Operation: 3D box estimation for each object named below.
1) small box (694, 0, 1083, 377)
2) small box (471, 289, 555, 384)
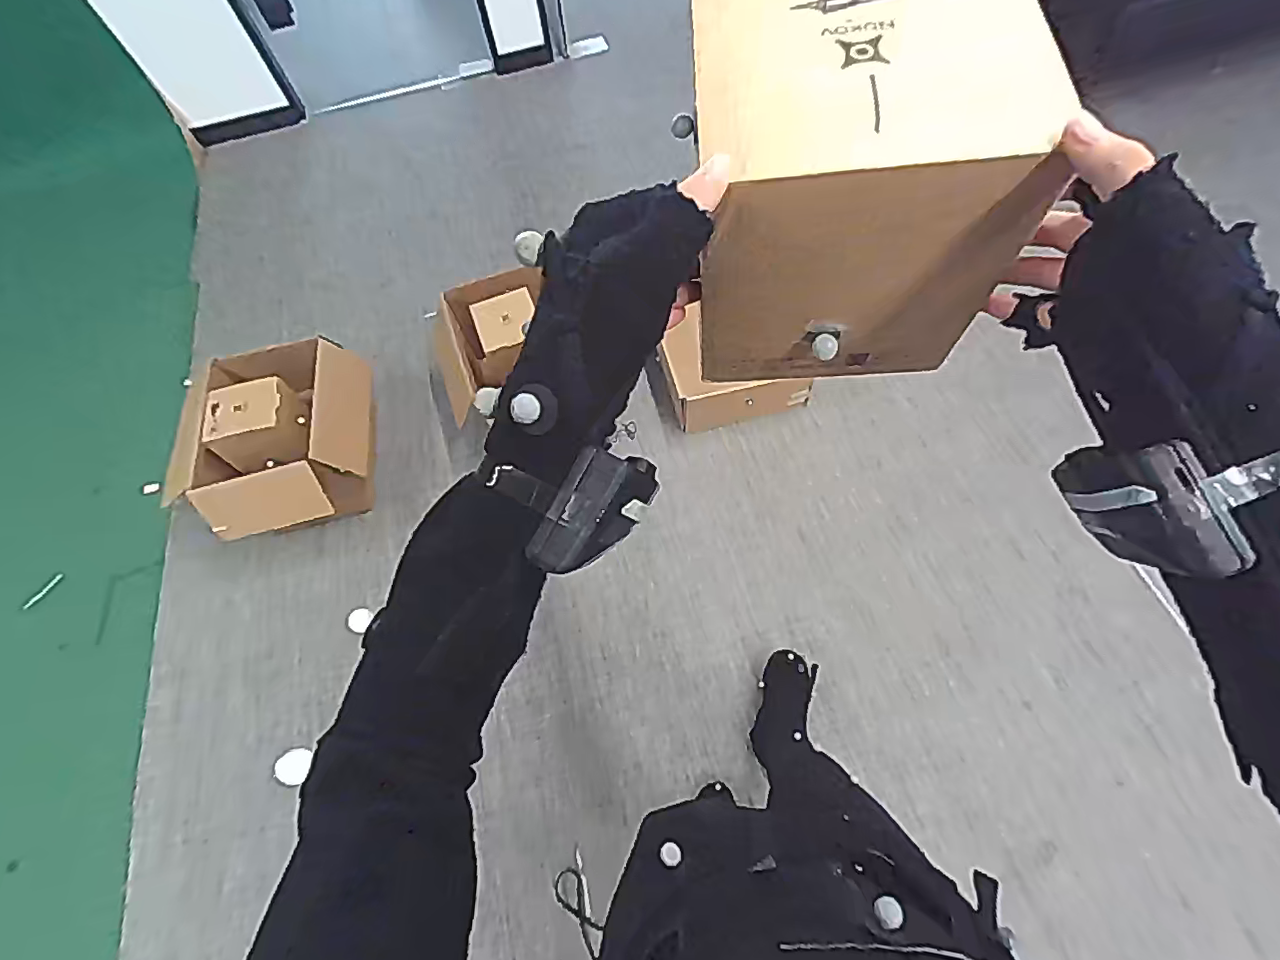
[{"bbox_3d":[0.118,-0.186,0.343,0.168,0.176,0.179,-2,68,6],"label":"small box"},{"bbox_3d":[-0.346,-0.389,1.503,0.168,0.176,0.179,-20,65,-7],"label":"small box"}]
